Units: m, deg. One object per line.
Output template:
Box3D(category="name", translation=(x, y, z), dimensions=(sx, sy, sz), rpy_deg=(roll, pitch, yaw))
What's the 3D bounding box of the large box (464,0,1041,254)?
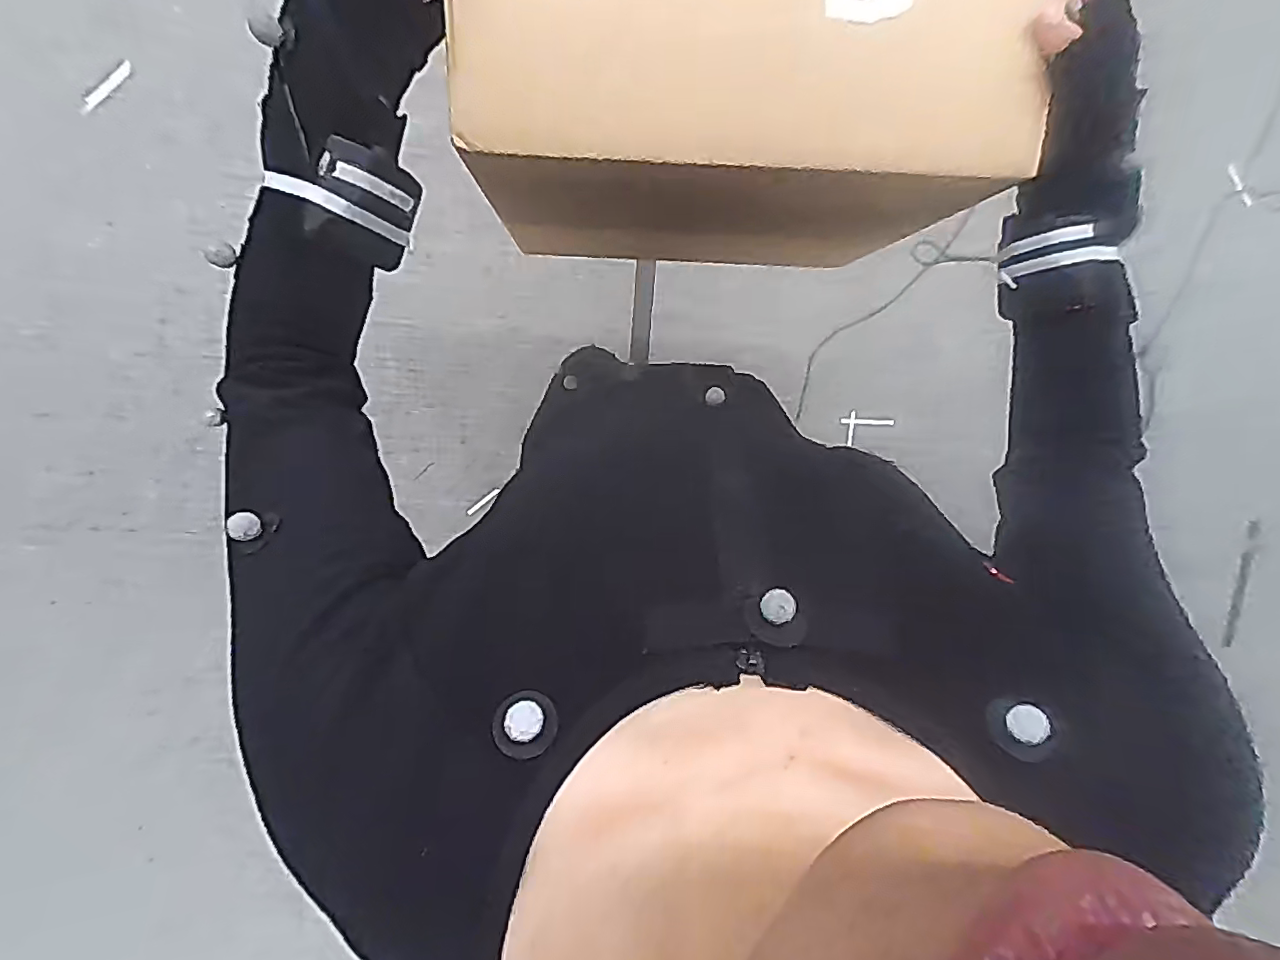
Box3D(category="large box", translation=(0.069, -0.407, 0.501), dimensions=(0.408, 0.320, 0.320), rpy_deg=(0, 101, -5))
